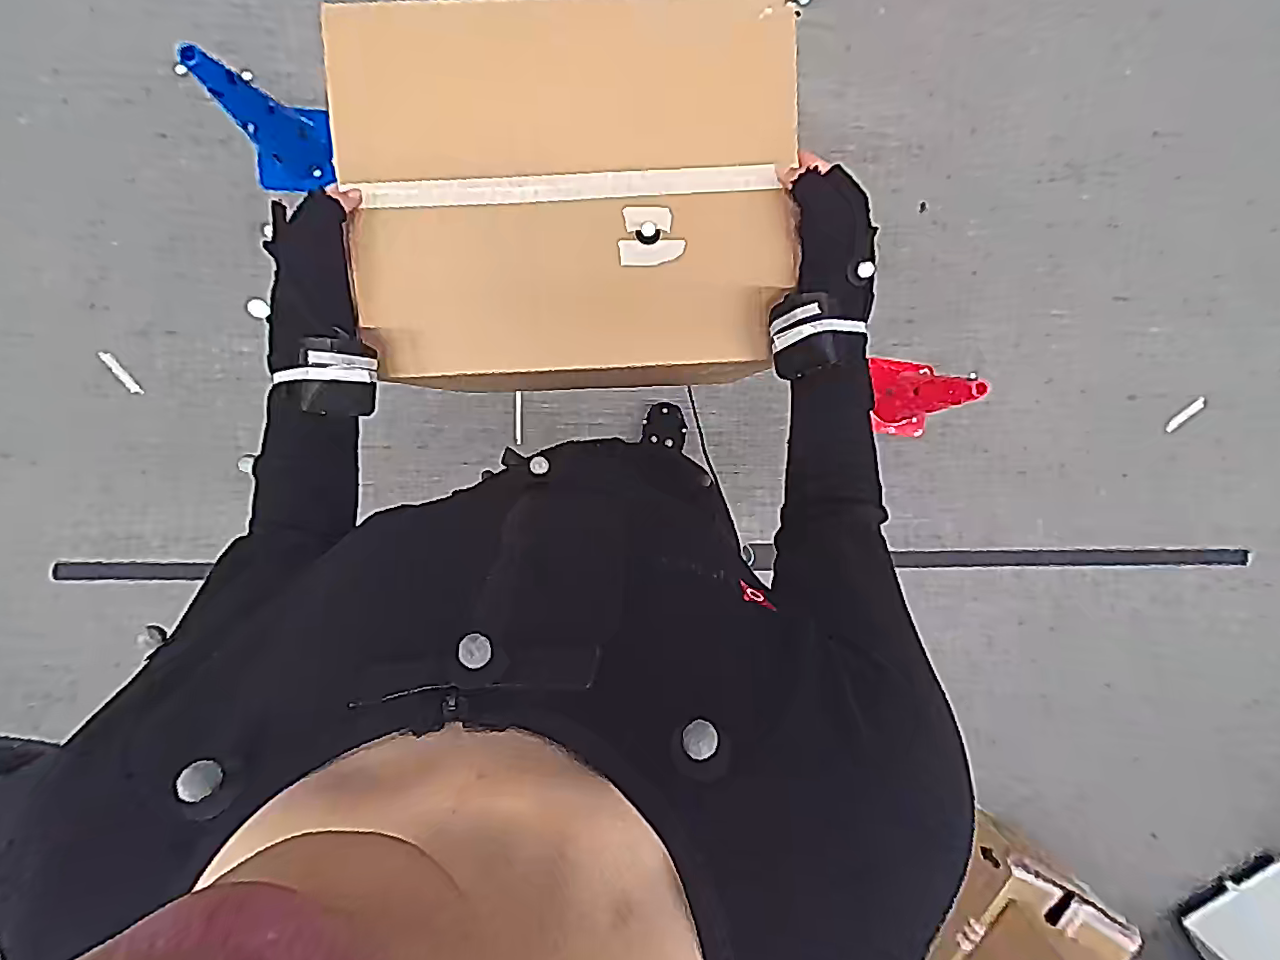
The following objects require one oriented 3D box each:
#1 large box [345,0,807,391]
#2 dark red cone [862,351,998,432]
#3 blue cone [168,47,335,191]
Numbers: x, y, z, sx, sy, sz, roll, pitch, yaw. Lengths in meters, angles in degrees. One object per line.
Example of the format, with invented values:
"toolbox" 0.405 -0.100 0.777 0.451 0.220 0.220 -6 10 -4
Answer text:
"large box" -0.056 -0.278 0.632 0.408 0.320 0.320 -3 97 -2
"dark red cone" 0.707 -0.217 1.290 0.201 0.394 0.202 6 96 -2
"blue cone" -0.853 -0.805 1.187 0.192 0.380 0.193 4 96 -2
